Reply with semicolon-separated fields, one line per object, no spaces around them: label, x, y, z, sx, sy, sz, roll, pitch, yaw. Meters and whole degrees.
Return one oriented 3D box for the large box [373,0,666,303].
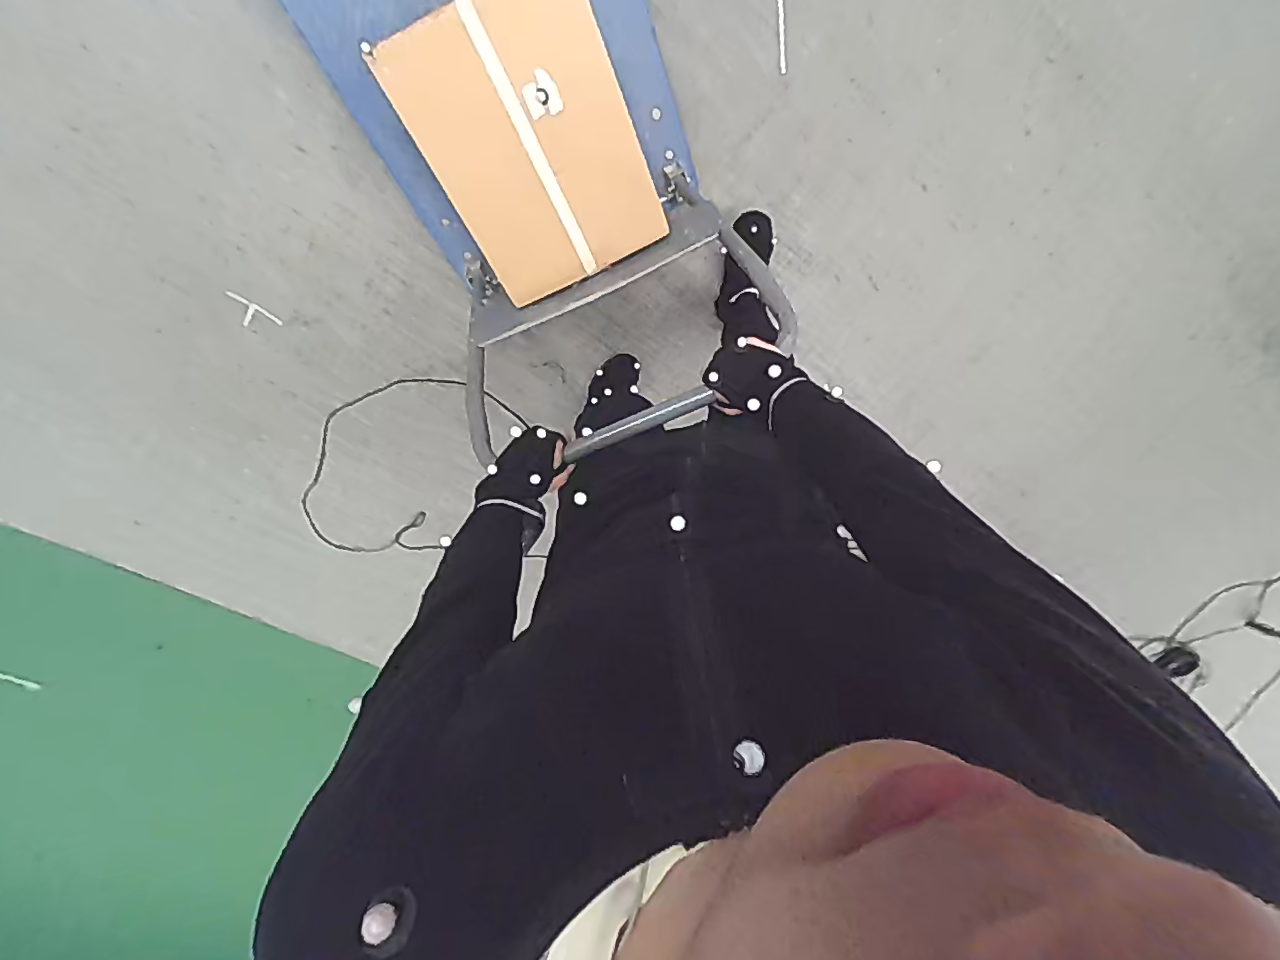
large box;-0.187;-0.613;0.980;0.320;0.320;0.408;-23;131;8
